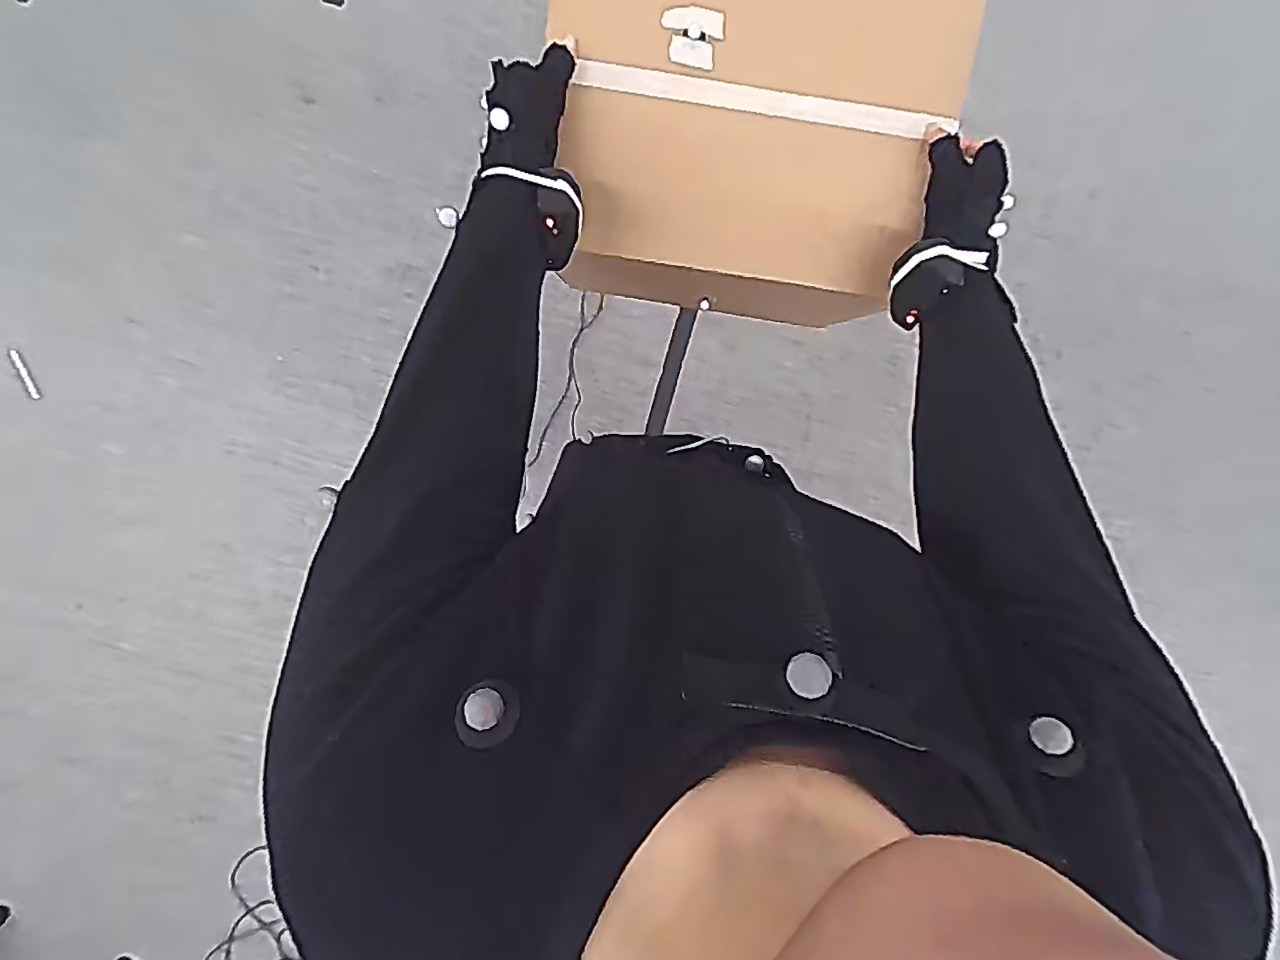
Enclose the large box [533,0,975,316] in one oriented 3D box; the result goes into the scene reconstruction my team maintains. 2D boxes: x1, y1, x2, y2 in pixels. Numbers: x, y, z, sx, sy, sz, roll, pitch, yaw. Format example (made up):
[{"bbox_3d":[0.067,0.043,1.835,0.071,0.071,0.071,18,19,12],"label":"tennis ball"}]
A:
[{"bbox_3d":[0.109,-0.398,0.677,0.408,0.320,0.320,8,100,-1],"label":"large box"}]
